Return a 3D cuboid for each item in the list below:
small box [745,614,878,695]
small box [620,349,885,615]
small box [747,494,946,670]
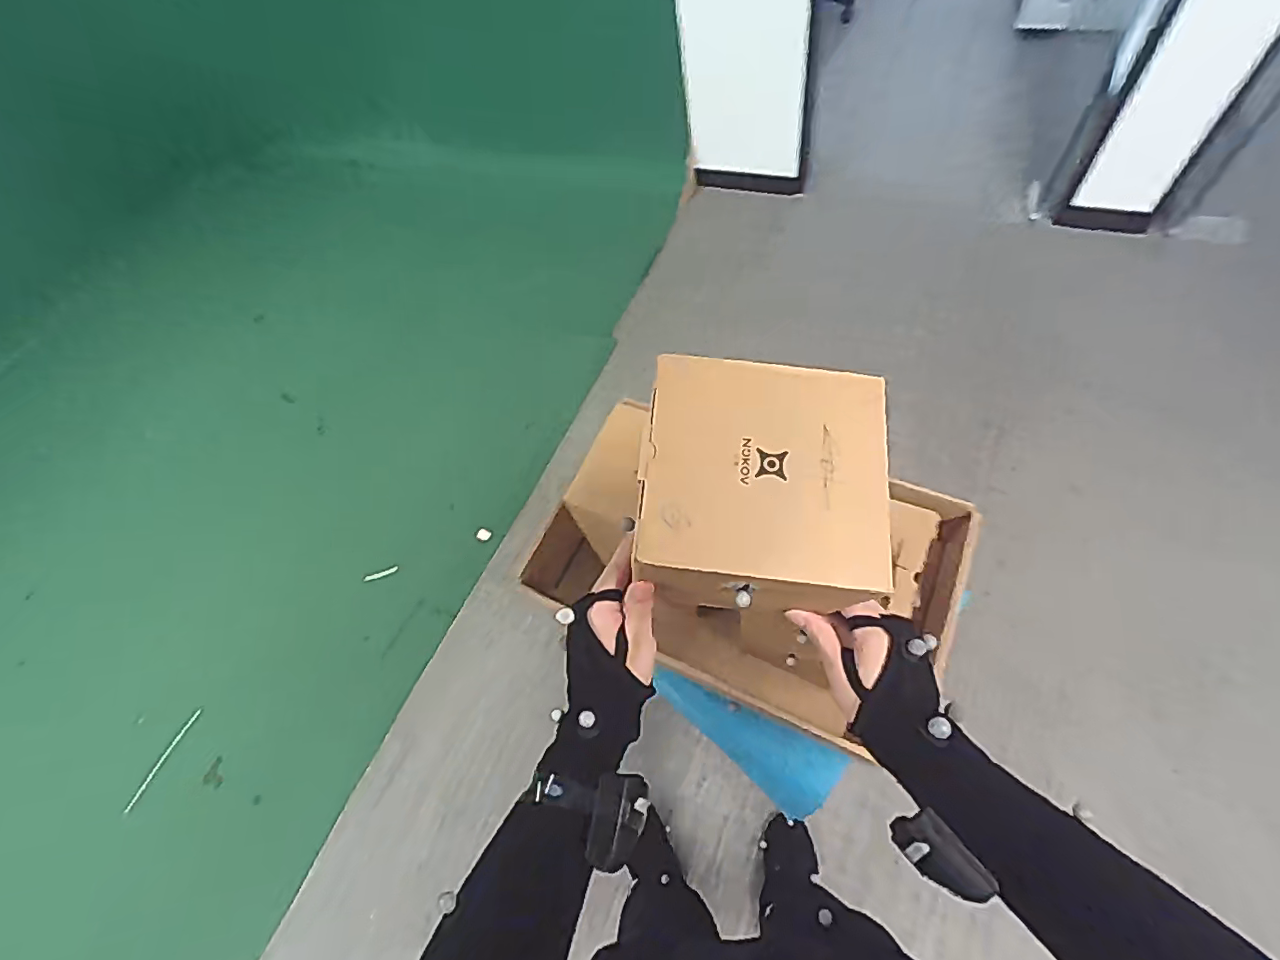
[{"bbox_3d":[0.269,0.197,0.799,0.179,0.176,0.168,20,67,23],"label":"small box"},{"bbox_3d":[0.081,0.014,0.454,0.179,0.176,0.168,7,70,1],"label":"small box"},{"bbox_3d":[0.240,0.116,0.661,0.179,0.176,0.168,19,66,23],"label":"small box"}]
